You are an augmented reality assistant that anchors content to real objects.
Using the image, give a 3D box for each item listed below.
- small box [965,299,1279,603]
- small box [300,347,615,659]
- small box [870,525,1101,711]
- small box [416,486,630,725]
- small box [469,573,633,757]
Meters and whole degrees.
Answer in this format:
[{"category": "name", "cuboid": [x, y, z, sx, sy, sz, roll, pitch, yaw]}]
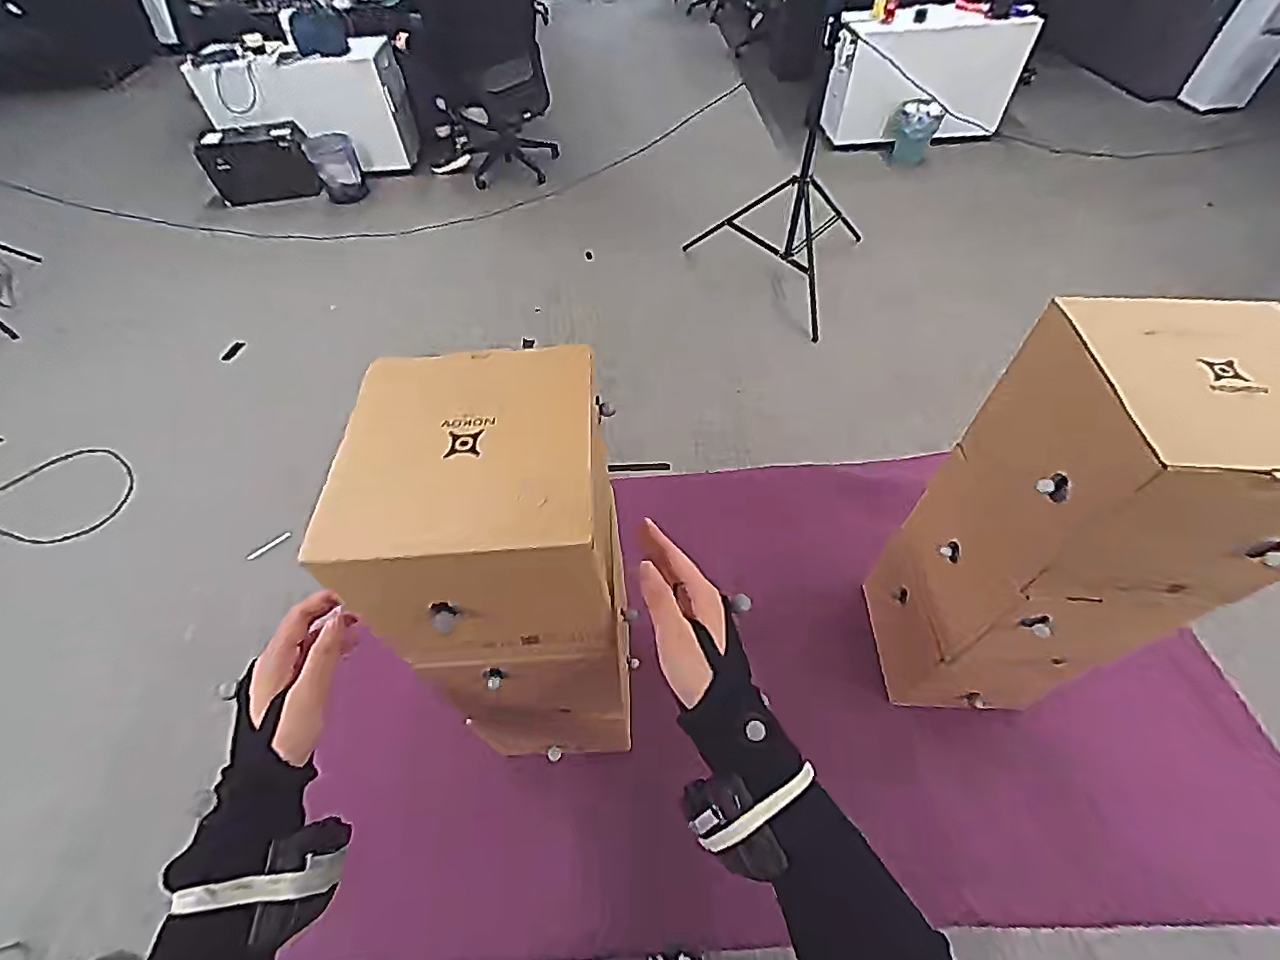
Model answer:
[{"category": "small box", "cuboid": [0.394, -0.019, 0.422, 0.168, 0.176, 0.179, 3, 51, 3]}, {"category": "small box", "cuboid": [-0.109, 0.025, 0.410, 0.168, 0.176, 0.179, -4, 52, -1]}, {"category": "small box", "cuboid": [0.410, 0.175, 0.685, 0.168, 0.176, 0.179, 0, 52, 4]}, {"category": "small box", "cuboid": [-0.097, 0.127, 0.539, 0.168, 0.176, 0.179, -4, 53, 0]}, {"category": "small box", "cuboid": [-0.095, 0.228, 0.667, 0.168, 0.176, 0.179, -2, 53, 1]}]
